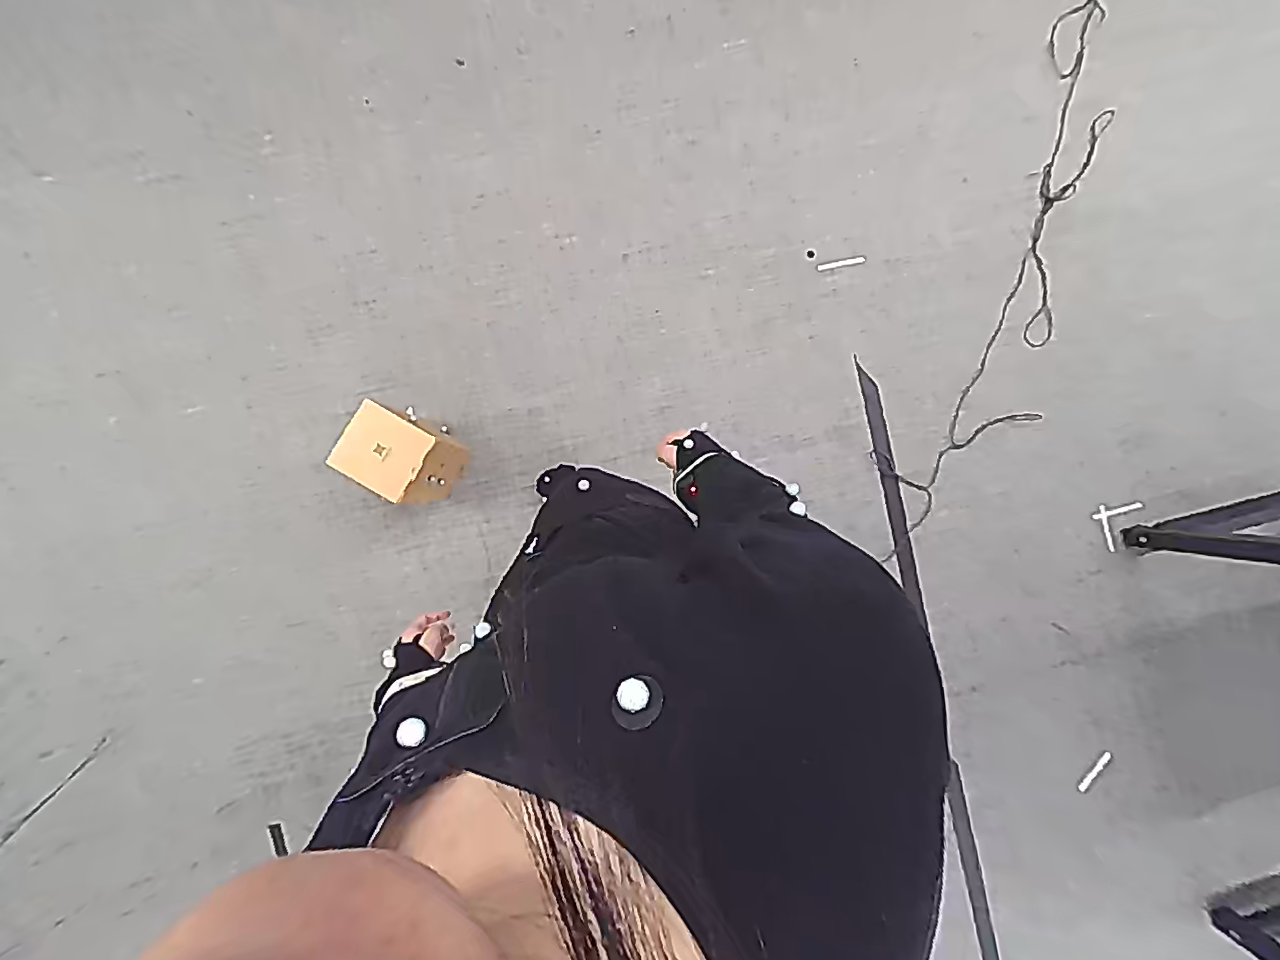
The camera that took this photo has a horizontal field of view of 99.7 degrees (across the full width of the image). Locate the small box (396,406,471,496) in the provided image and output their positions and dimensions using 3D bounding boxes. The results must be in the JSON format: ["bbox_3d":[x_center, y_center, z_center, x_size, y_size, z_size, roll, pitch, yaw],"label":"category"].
[{"bbox_3d":[-0.567,-0.067,1.396,0.179,0.176,0.168,31,88,-2],"label":"small box"}]

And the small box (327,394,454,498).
[{"bbox_3d":[-0.558,-0.070,1.232,0.179,0.176,0.168,31,87,-4],"label":"small box"}]

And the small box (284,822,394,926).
[{"bbox_3d":[-0.755,1.019,1.383,0.179,0.176,0.168,-17,90,-2],"label":"small box"}]
